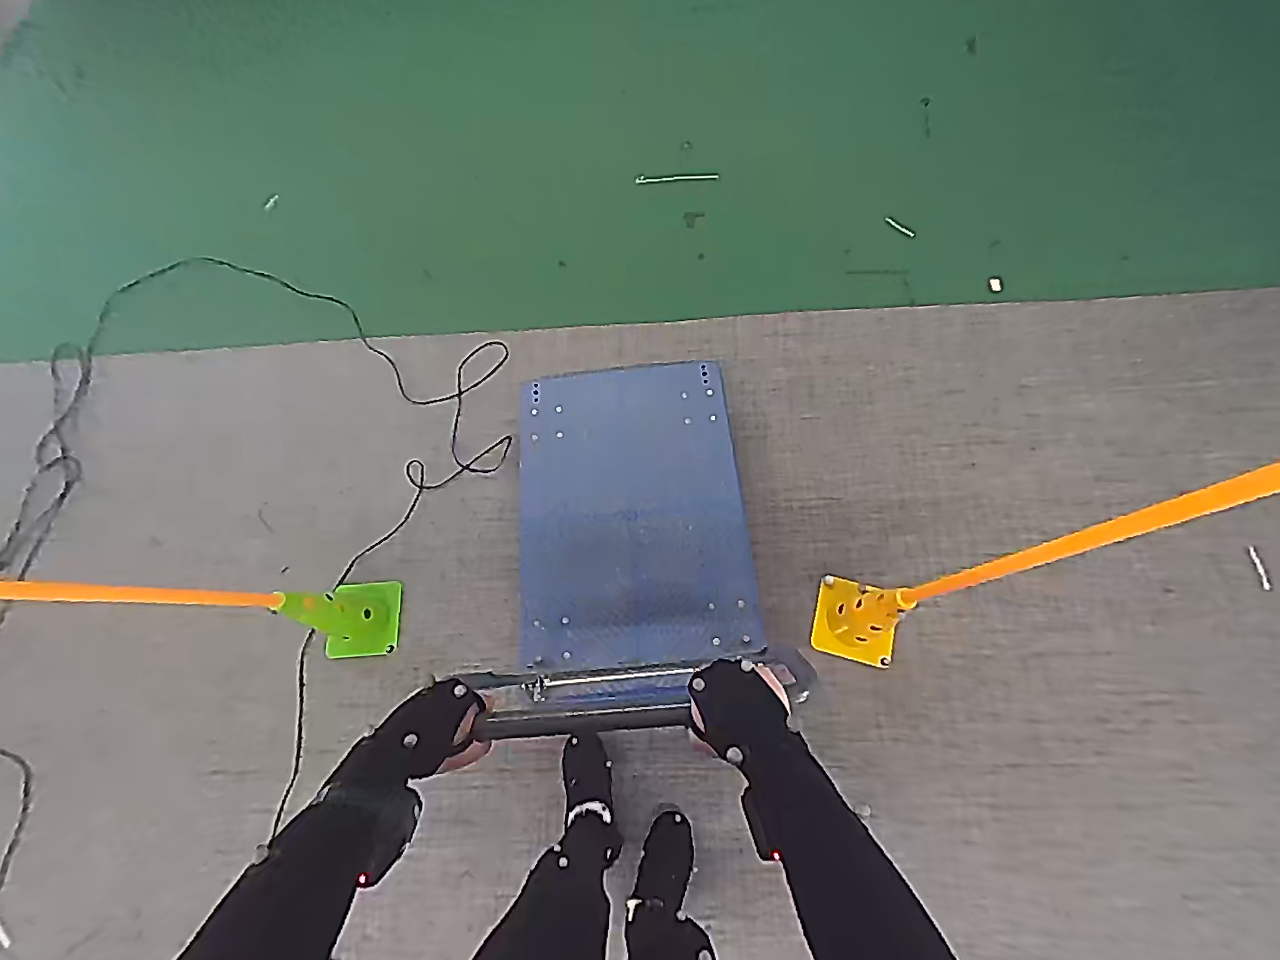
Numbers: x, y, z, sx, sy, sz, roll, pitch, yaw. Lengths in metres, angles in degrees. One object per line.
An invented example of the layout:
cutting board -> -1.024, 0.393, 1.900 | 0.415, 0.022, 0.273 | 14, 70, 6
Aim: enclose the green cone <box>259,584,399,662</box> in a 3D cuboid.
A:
green cone -> -0.785, 0.330, 1.337 | 0.202, 0.368, 0.200 | -7, 68, 4
